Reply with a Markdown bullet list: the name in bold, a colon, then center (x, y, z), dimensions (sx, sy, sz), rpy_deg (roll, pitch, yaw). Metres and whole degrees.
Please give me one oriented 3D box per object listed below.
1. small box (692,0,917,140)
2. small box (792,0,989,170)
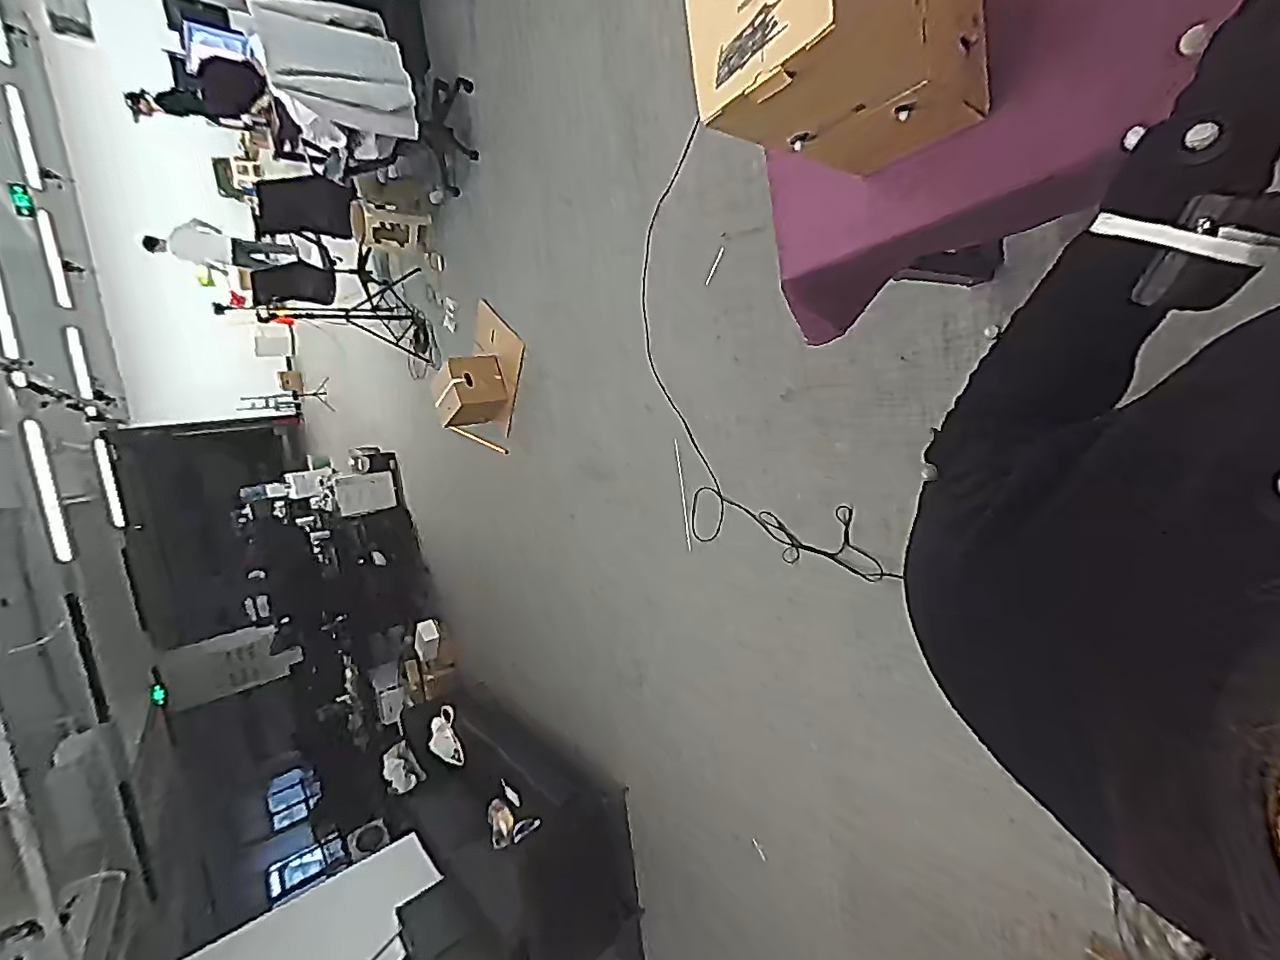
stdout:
- **small box**: center (0.177, -0.497, 0.580), dimensions (0.168, 0.176, 0.179), rpy_deg (-1, 98, 52)
- **small box**: center (0.307, -0.519, 0.679), dimensions (0.179, 0.176, 0.168), rpy_deg (0, 100, 52)
